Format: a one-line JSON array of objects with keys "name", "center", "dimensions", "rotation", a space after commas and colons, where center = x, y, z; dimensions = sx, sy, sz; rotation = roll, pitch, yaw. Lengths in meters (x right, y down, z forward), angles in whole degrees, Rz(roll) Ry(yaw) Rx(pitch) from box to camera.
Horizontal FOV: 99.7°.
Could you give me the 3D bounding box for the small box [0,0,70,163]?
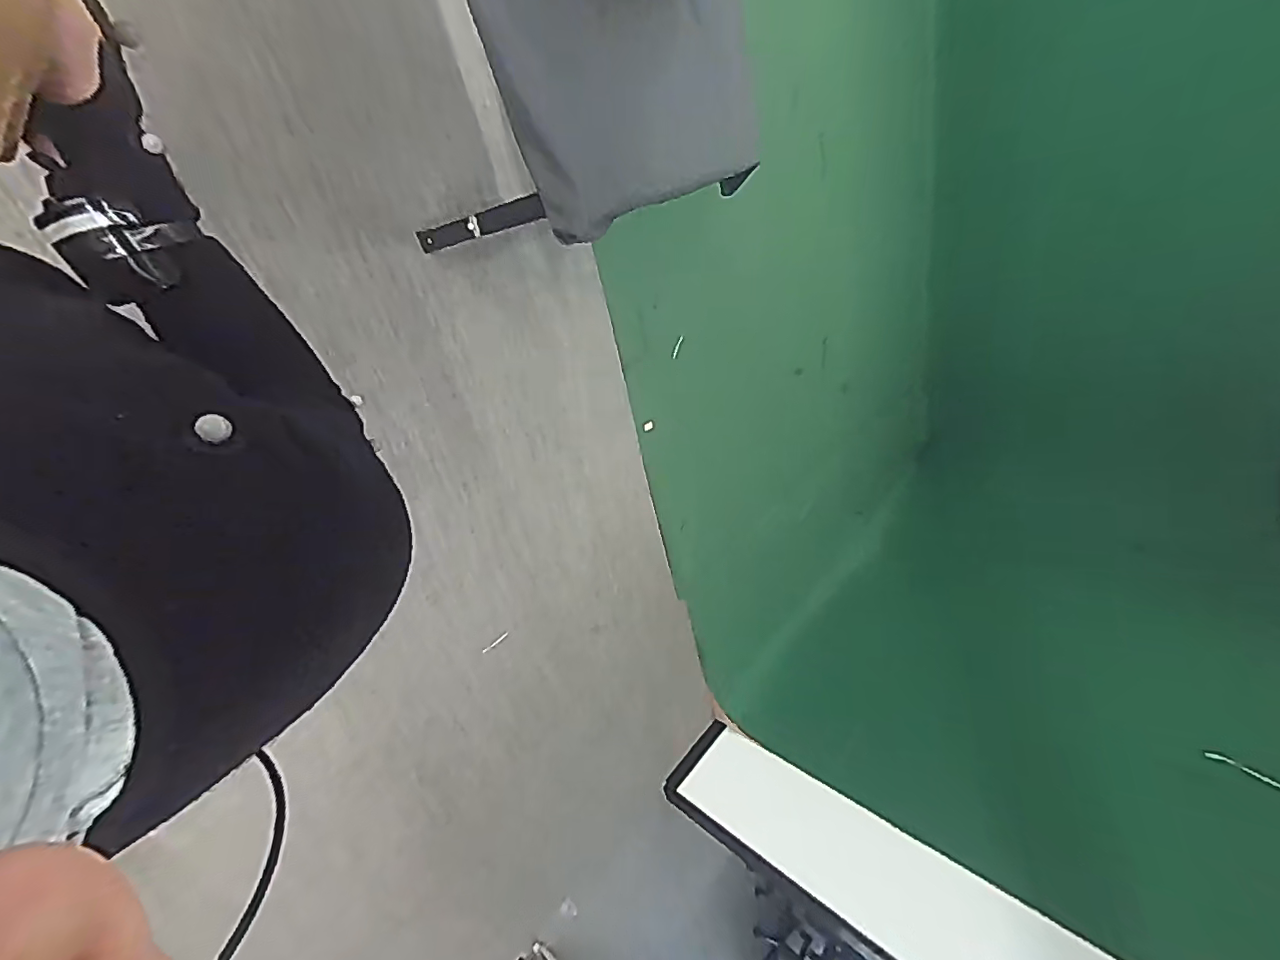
[{"name": "small box", "center": [-0.377, -0.267, 0.219], "dimensions": [0.179, 0.176, 0.168], "rotation": [-13, 92, -54]}]
